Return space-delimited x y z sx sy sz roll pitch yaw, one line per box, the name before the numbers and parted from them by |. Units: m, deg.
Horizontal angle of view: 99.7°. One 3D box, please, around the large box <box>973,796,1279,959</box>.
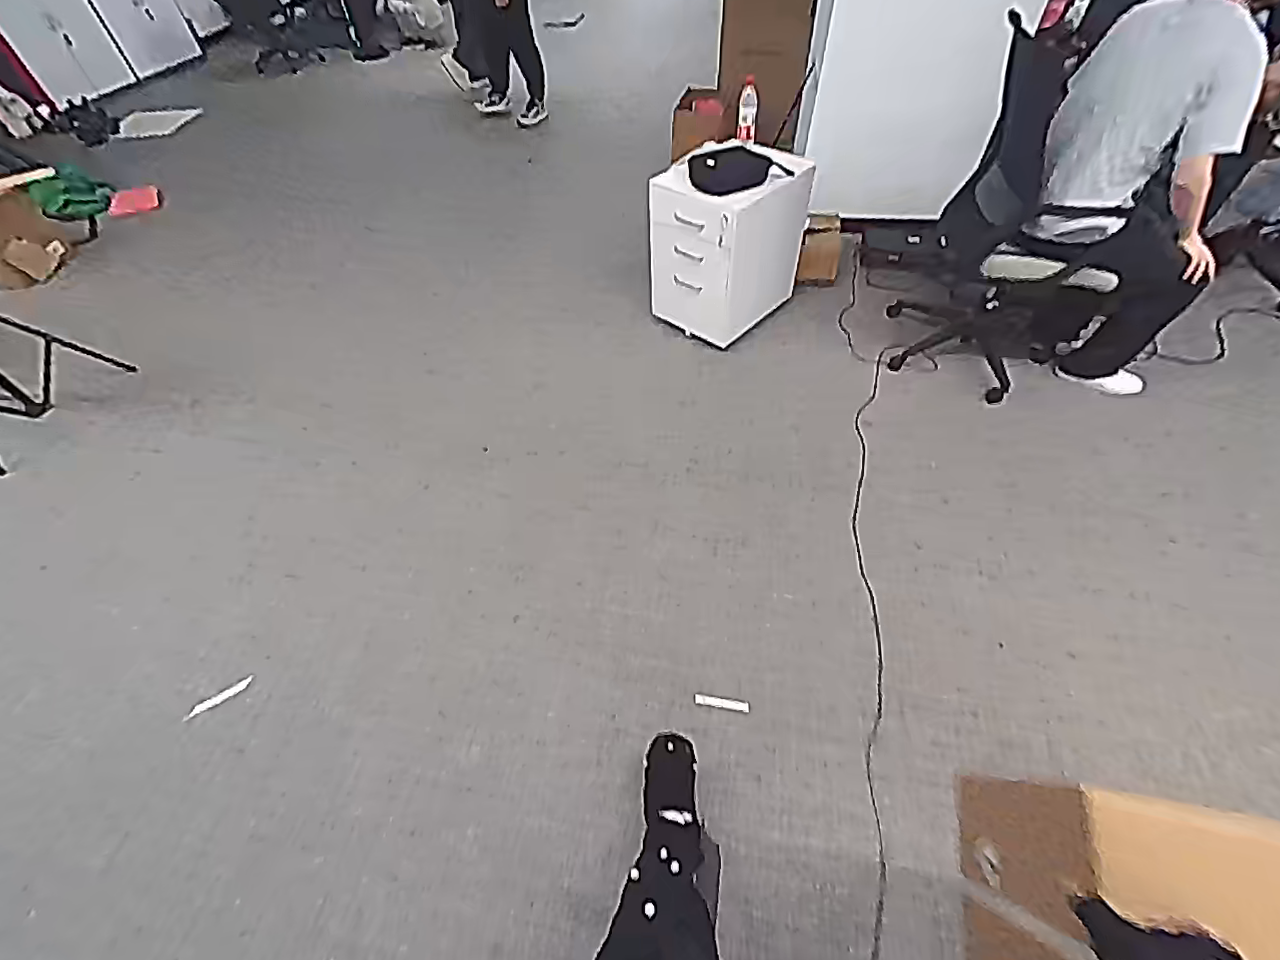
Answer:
large box | 0.626 0.584 0.627 0.320 0.408 0.320 8 64 18
